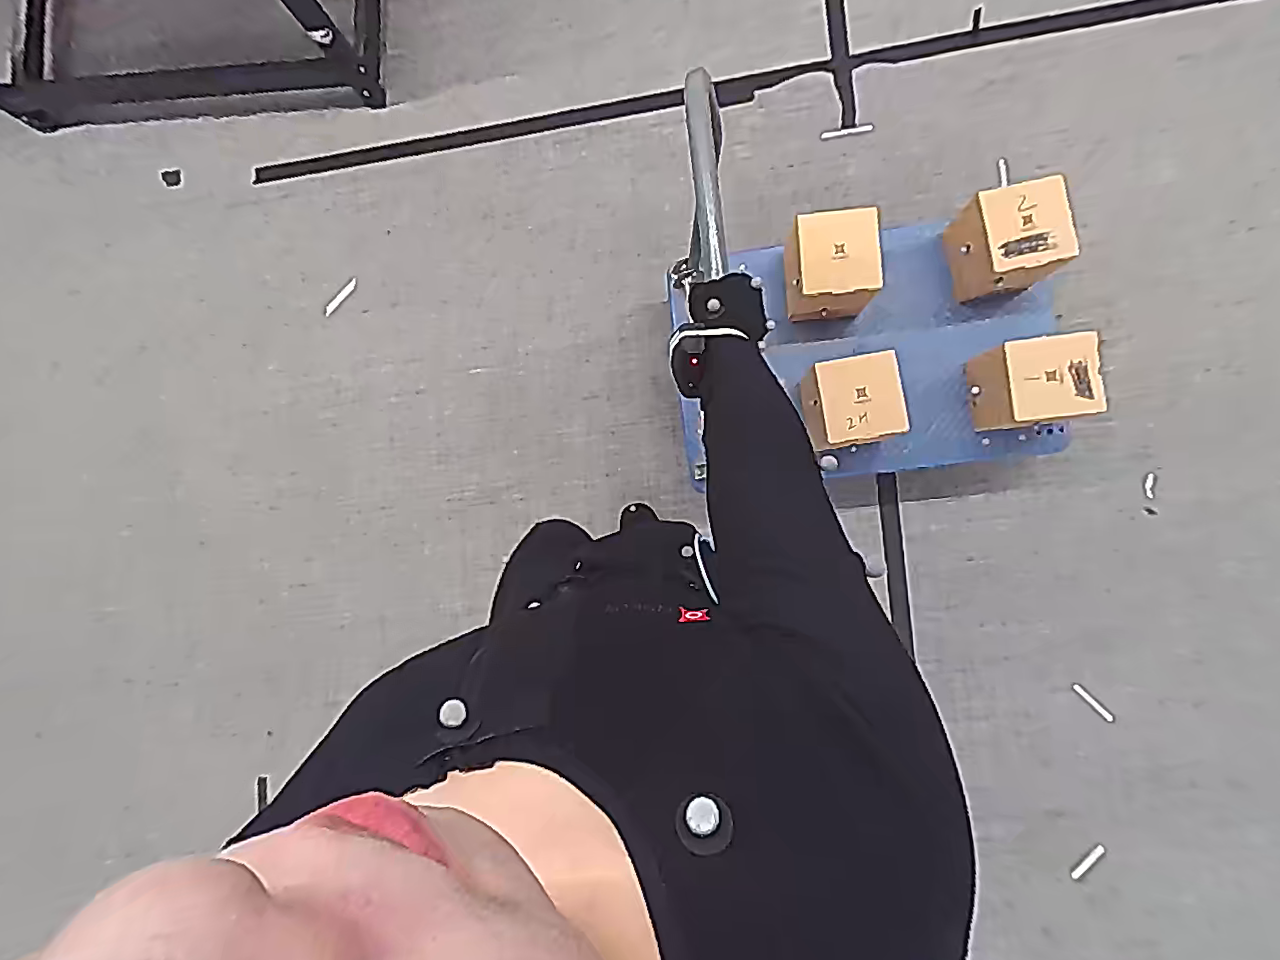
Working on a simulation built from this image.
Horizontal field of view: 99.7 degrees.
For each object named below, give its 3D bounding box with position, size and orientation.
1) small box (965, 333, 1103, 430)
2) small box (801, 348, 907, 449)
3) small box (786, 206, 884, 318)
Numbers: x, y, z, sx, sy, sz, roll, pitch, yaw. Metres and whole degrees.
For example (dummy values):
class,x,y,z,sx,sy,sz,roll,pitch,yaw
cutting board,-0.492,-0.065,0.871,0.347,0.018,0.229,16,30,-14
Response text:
class,x,y,z,sx,sy,sz,roll,pitch,yaw
small box,0.837,-0.205,1.163,0.179,0.176,0.168,-6,87,6
small box,0.464,-0.173,1.197,0.168,0.176,0.179,-8,87,5
small box,0.428,-0.480,1.211,0.168,0.176,0.179,-4,89,5
